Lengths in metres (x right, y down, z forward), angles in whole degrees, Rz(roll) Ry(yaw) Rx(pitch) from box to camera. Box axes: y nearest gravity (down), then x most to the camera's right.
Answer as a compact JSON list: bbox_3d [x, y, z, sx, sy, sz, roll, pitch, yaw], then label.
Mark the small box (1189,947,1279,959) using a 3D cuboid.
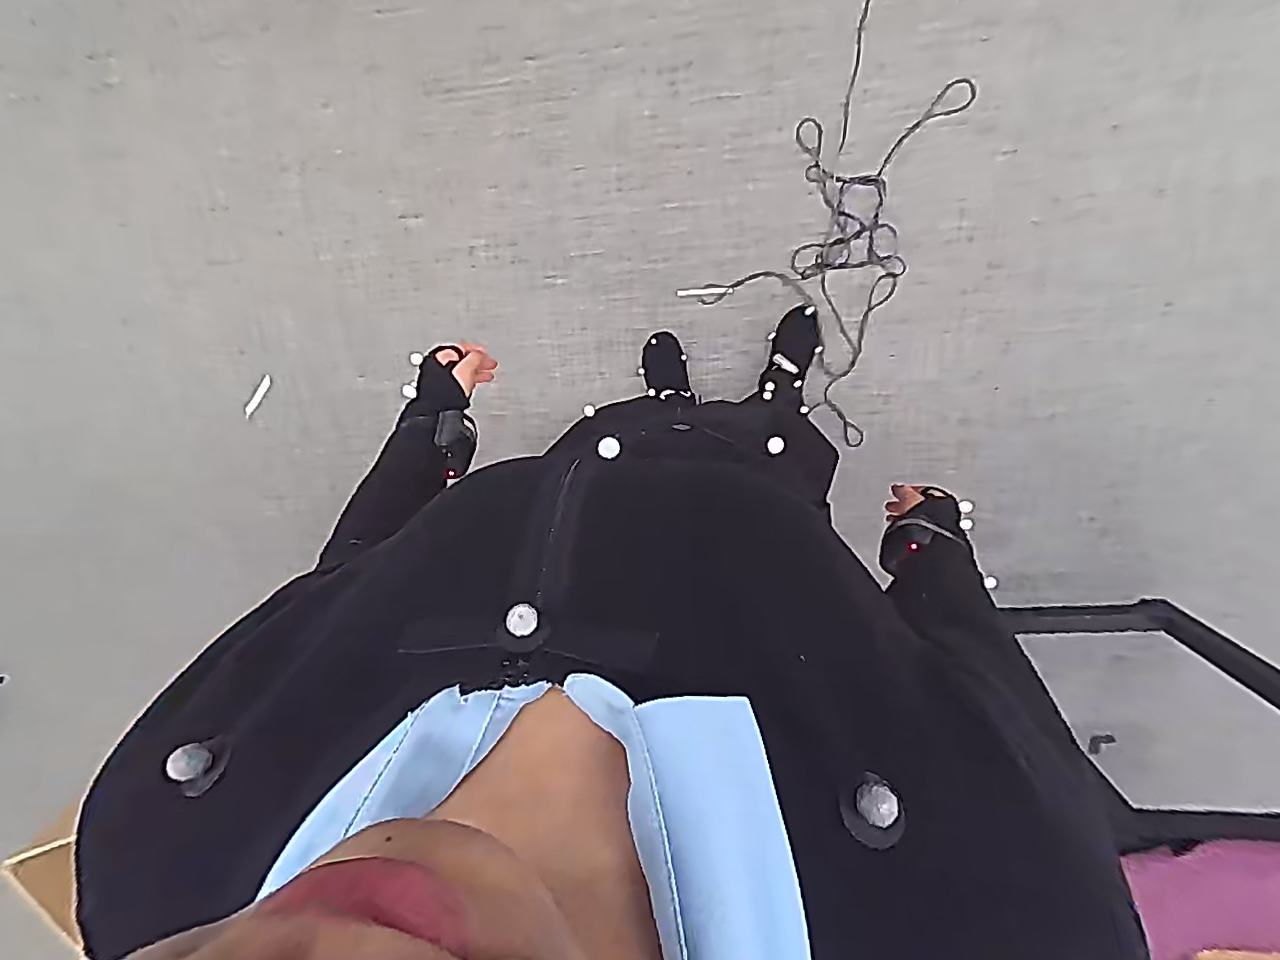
[{"bbox_3d":[0.966,0.845,0.808,0.168,0.176,0.179,-6,106,8],"label":"small box"}]
